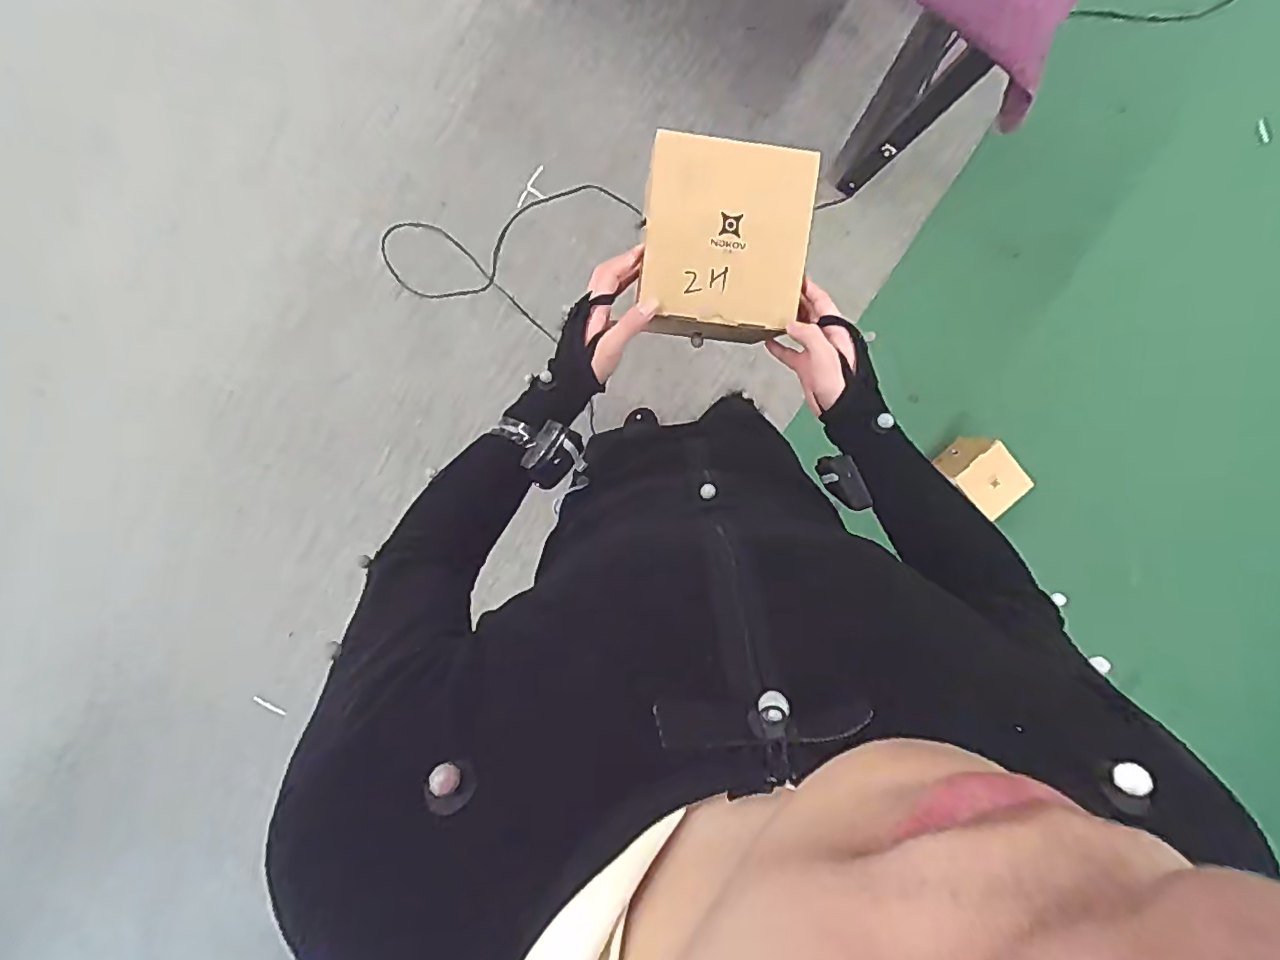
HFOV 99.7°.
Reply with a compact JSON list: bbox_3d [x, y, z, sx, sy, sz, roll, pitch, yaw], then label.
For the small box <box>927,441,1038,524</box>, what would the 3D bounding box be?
[{"bbox_3d":[0.992,-0.001,1.581,0.168,0.176,0.179,-42,96,3],"label":"small box"}]
